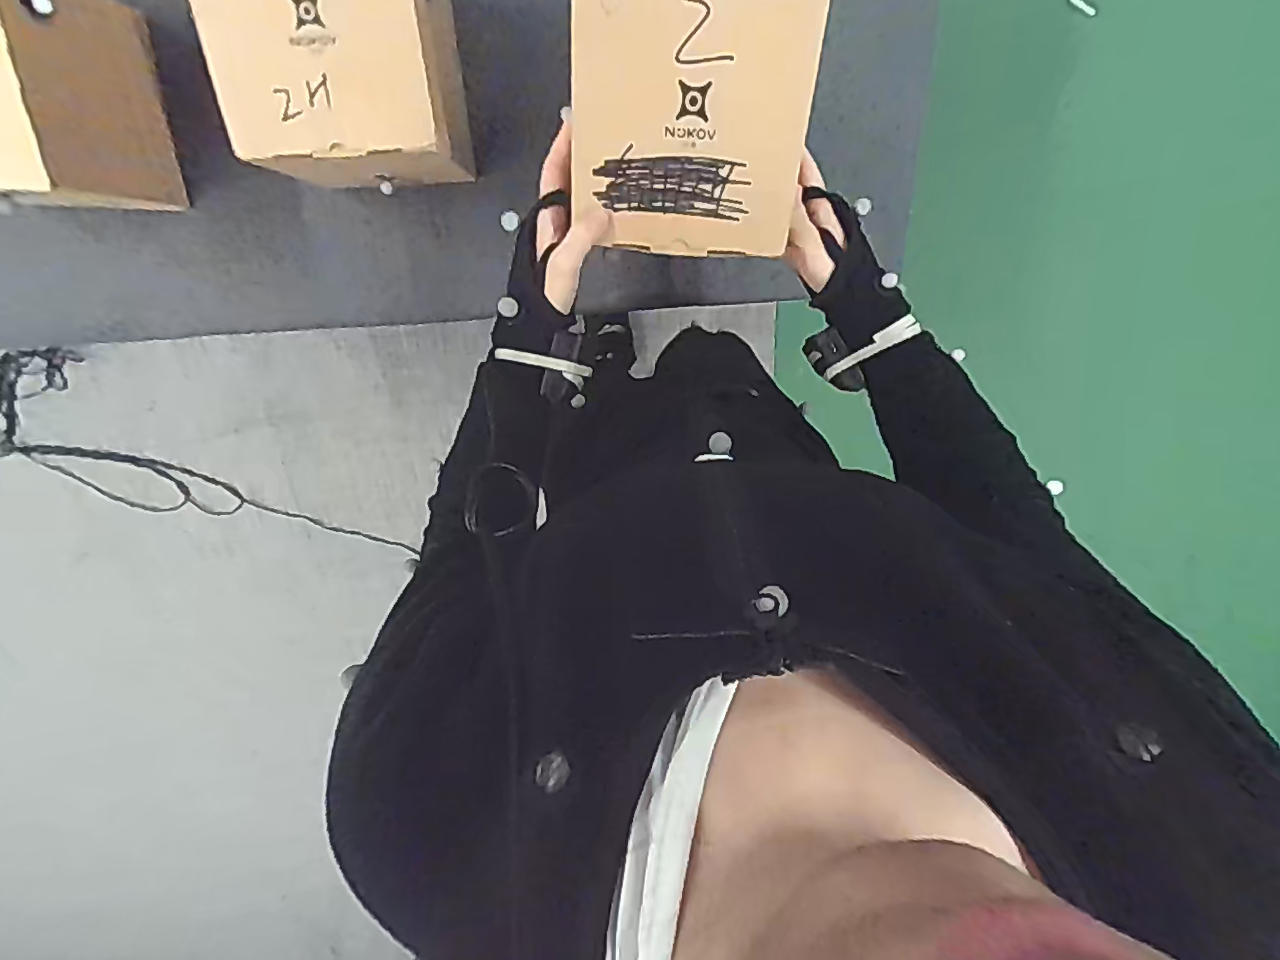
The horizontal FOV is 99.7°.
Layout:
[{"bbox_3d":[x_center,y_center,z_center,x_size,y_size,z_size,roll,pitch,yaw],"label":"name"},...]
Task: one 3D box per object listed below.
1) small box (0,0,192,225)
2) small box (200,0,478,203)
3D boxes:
[{"bbox_3d":[-0.559,-0.335,0.489,0.168,0.176,0.179,0,110,-5],"label":"small box"},{"bbox_3d":[-0.259,-0.370,0.503,0.168,0.176,0.179,-5,110,-3],"label":"small box"}]
